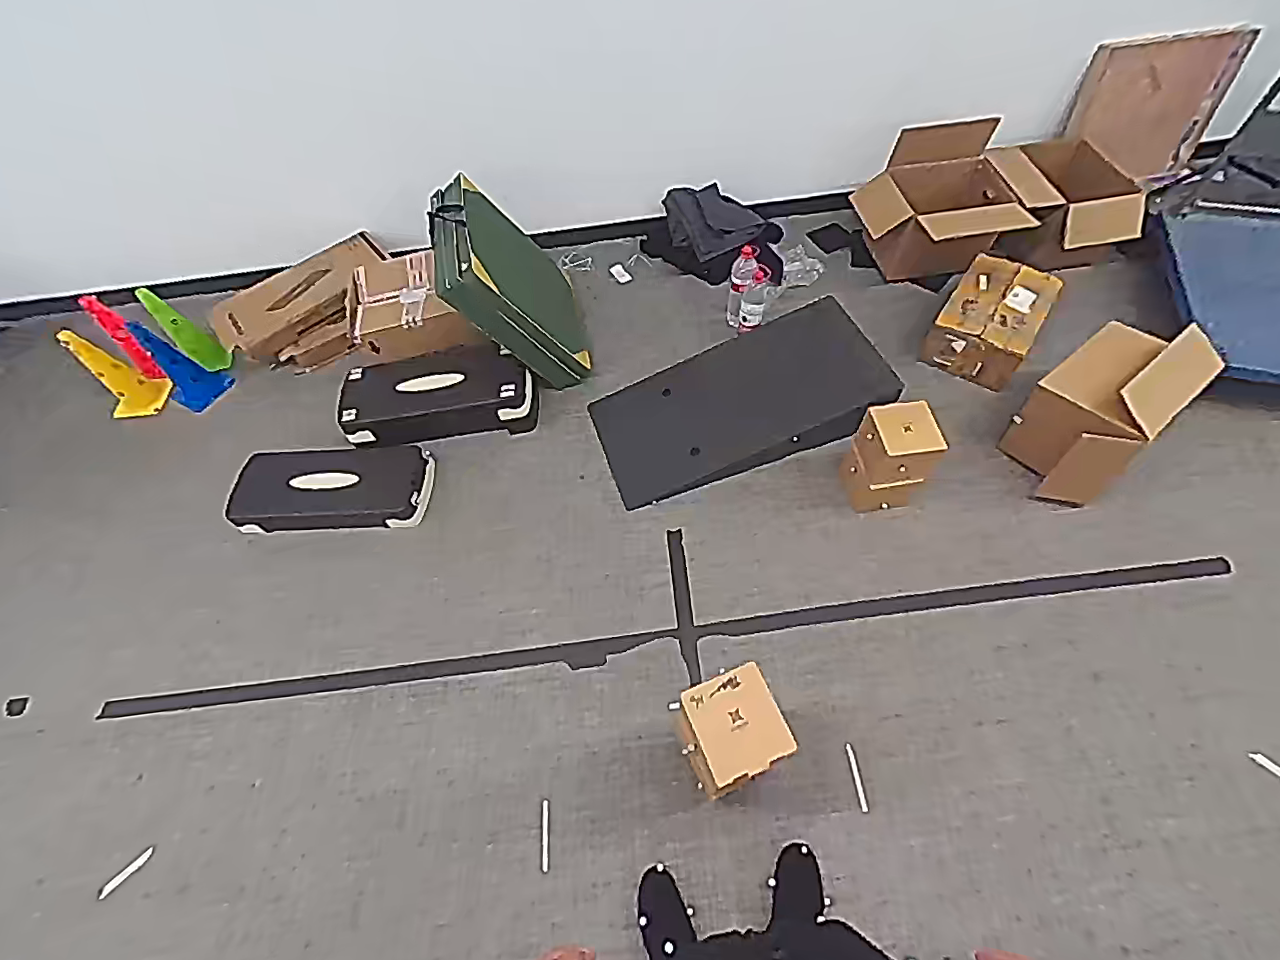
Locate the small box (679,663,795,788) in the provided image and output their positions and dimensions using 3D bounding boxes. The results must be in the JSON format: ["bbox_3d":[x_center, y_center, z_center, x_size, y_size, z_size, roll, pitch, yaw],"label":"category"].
[{"bbox_3d":[0.187,0.496,1.089,0.168,0.176,0.179,-21,60,-8],"label":"small box"}]
